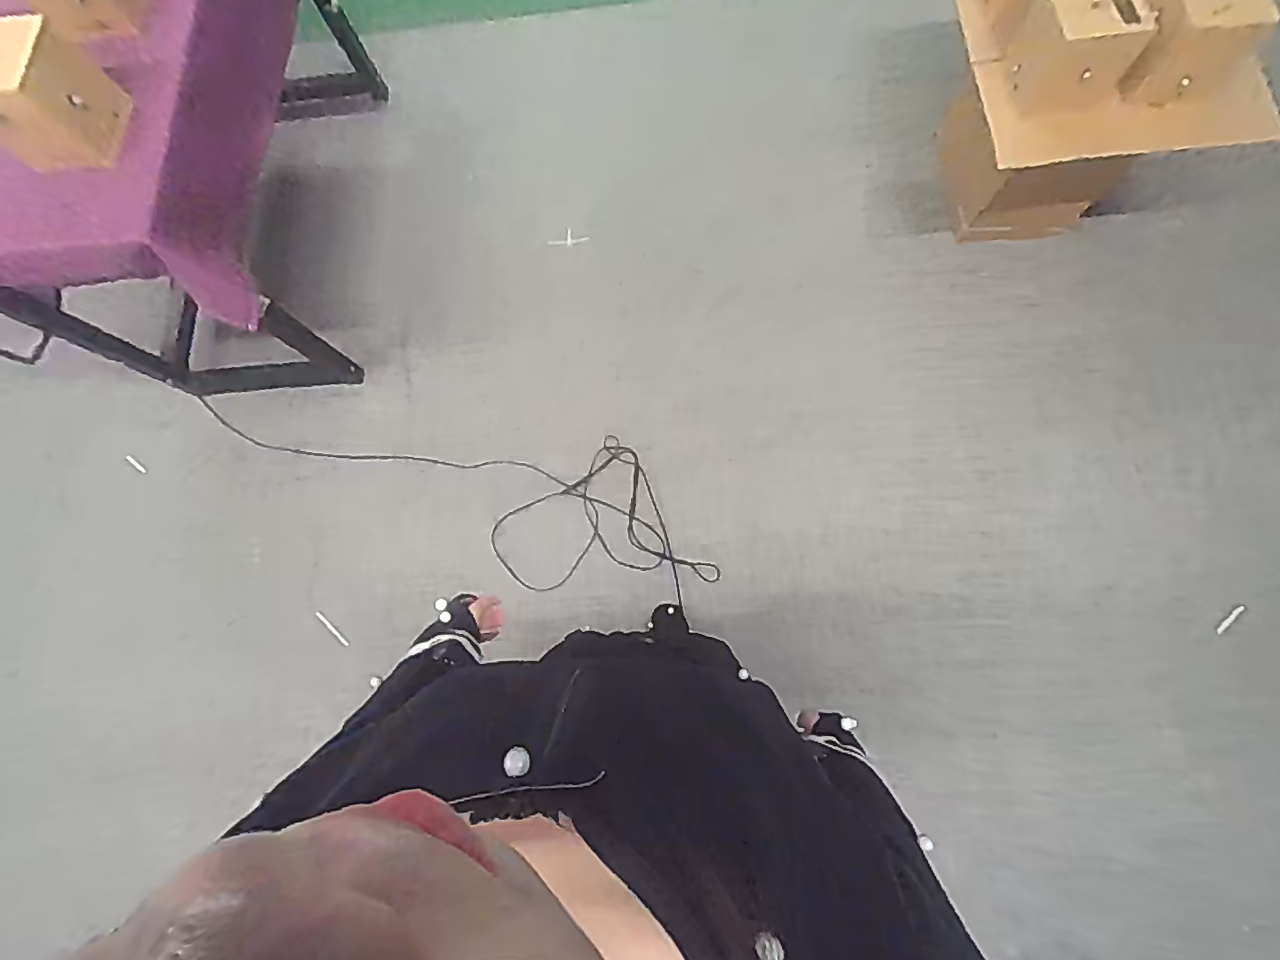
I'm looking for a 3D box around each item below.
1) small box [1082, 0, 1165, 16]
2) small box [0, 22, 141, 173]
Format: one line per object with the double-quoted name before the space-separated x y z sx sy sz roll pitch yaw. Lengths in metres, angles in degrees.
"small box" 1.121 -1.181 1.199 0.179 0.176 0.168 -5 75 2
"small box" -1.112 -0.714 1.024 0.179 0.176 0.168 0 77 6
